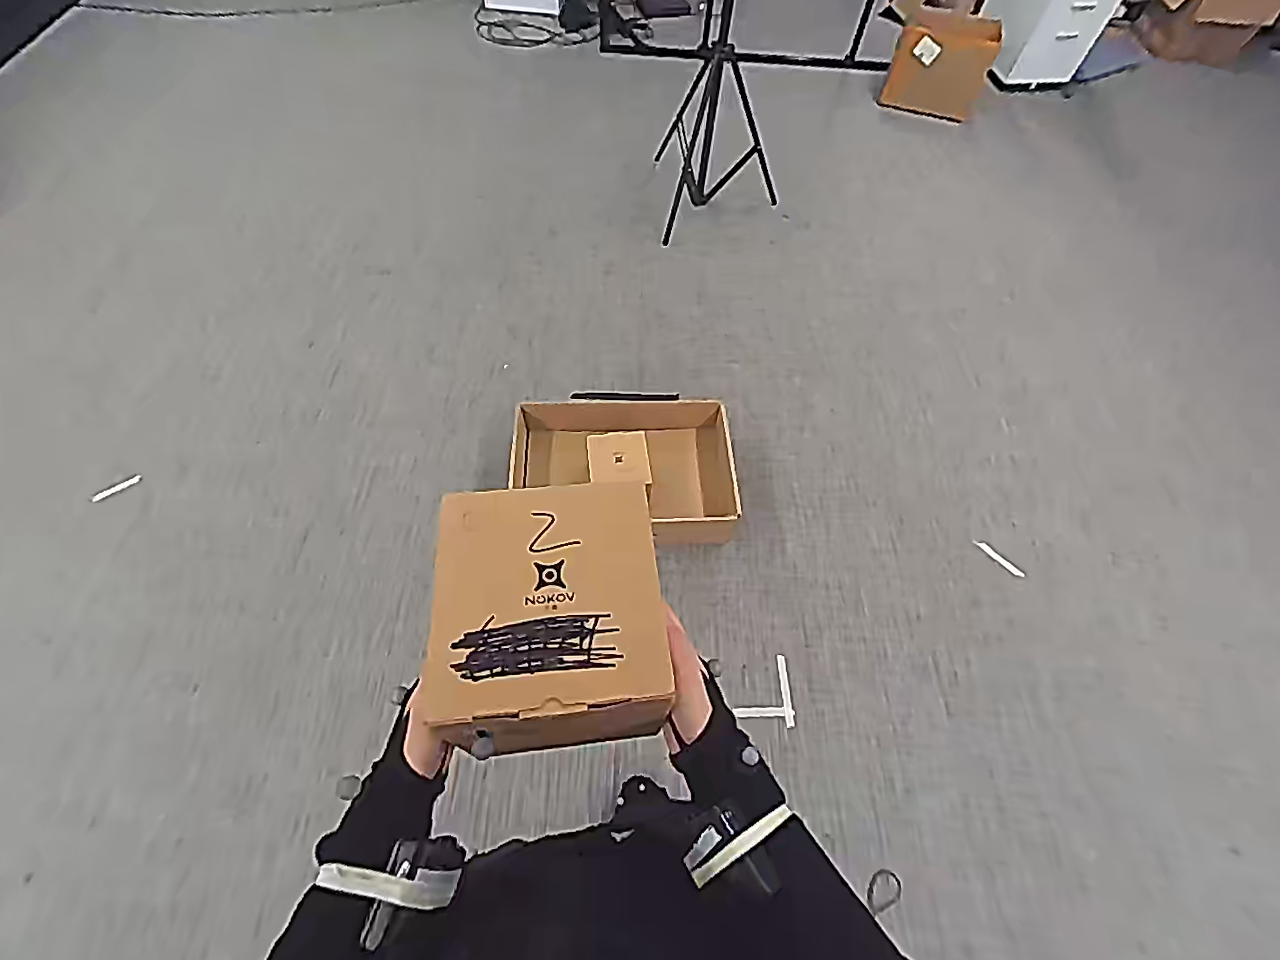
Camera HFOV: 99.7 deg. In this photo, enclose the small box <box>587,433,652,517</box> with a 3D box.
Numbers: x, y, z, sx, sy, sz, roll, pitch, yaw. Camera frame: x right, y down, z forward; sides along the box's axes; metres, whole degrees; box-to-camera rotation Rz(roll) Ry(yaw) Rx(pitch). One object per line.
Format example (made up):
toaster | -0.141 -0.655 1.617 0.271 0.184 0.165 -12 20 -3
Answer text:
small box | -0.064 -0.013 1.547 0.168 0.176 0.179 -6 61 -6
